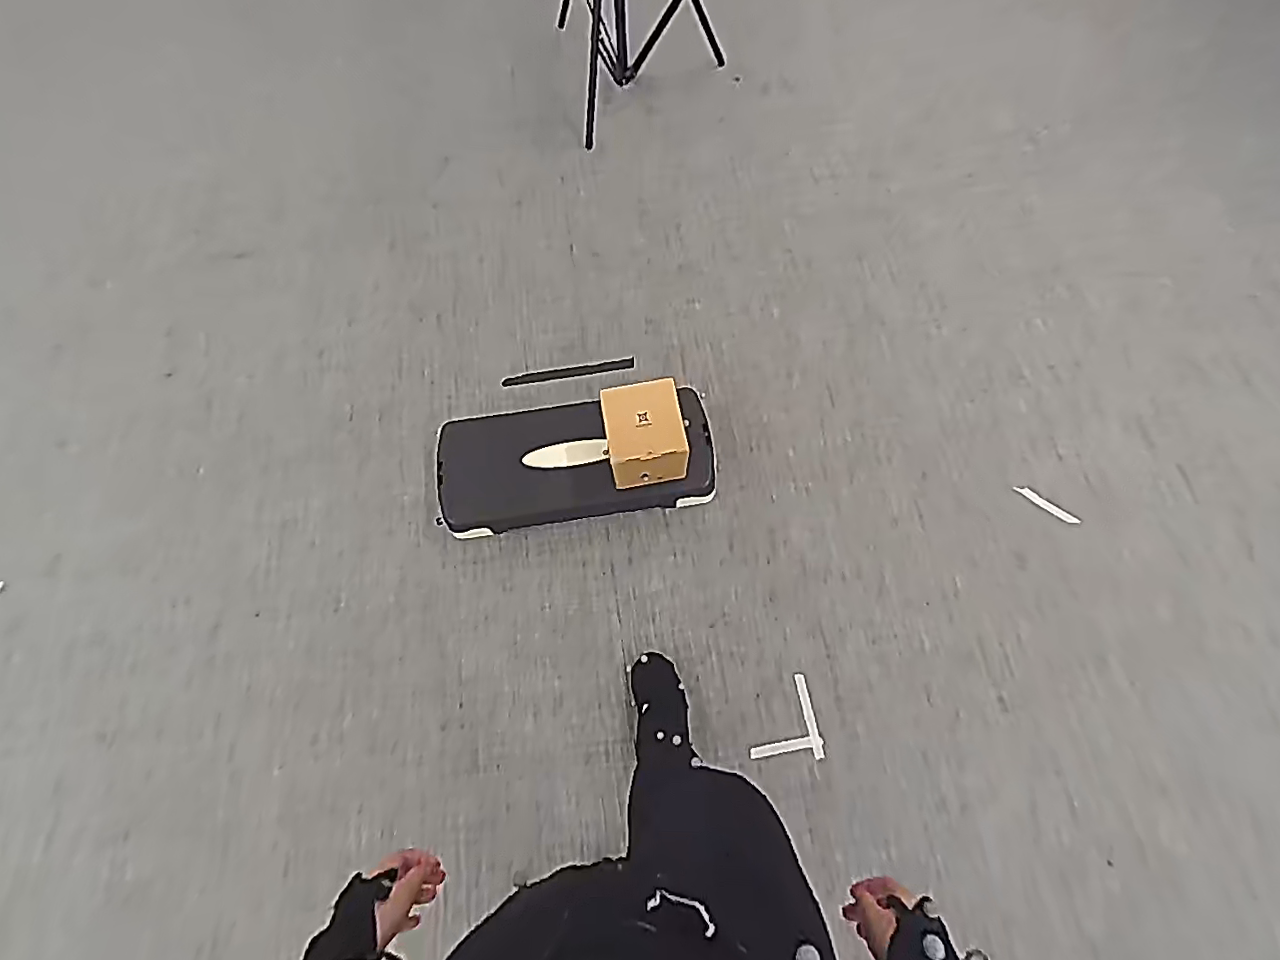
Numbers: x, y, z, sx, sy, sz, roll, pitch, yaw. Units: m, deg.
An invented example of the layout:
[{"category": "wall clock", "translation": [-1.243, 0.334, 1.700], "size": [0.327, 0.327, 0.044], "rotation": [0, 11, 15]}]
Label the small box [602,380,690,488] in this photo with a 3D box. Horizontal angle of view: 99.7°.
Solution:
[{"category": "small box", "translation": [0.010, -0.098, 1.216], "size": [0.168, 0.176, 0.179], "rotation": [-10, 72, -2]}]
